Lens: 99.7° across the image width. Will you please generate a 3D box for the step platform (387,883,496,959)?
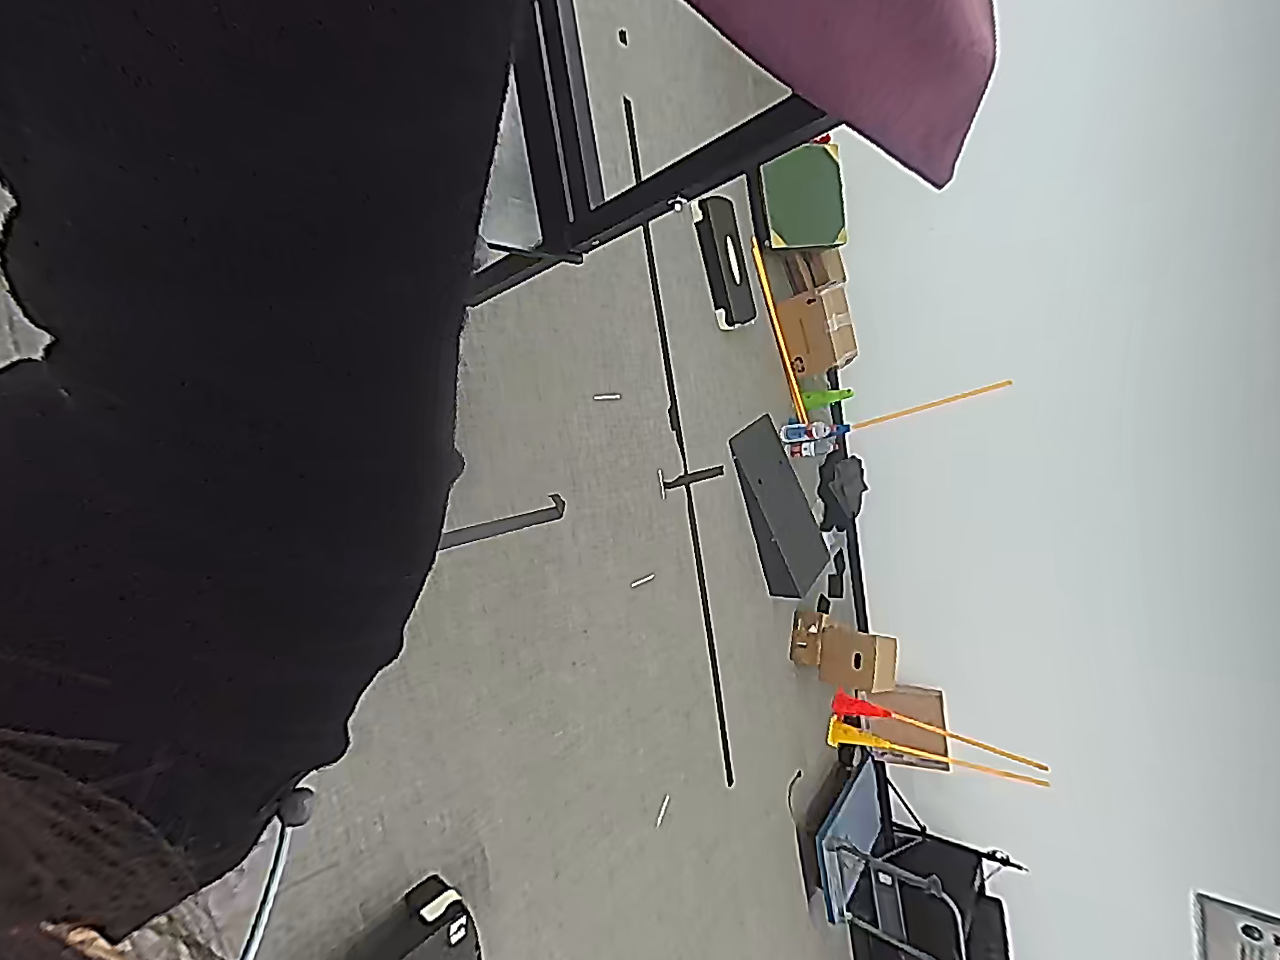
[{"bbox_3d":[-0.679,1.326,1.300,0.684,0.204,0.286,-5,90,-49],"label":"step platform"}]
